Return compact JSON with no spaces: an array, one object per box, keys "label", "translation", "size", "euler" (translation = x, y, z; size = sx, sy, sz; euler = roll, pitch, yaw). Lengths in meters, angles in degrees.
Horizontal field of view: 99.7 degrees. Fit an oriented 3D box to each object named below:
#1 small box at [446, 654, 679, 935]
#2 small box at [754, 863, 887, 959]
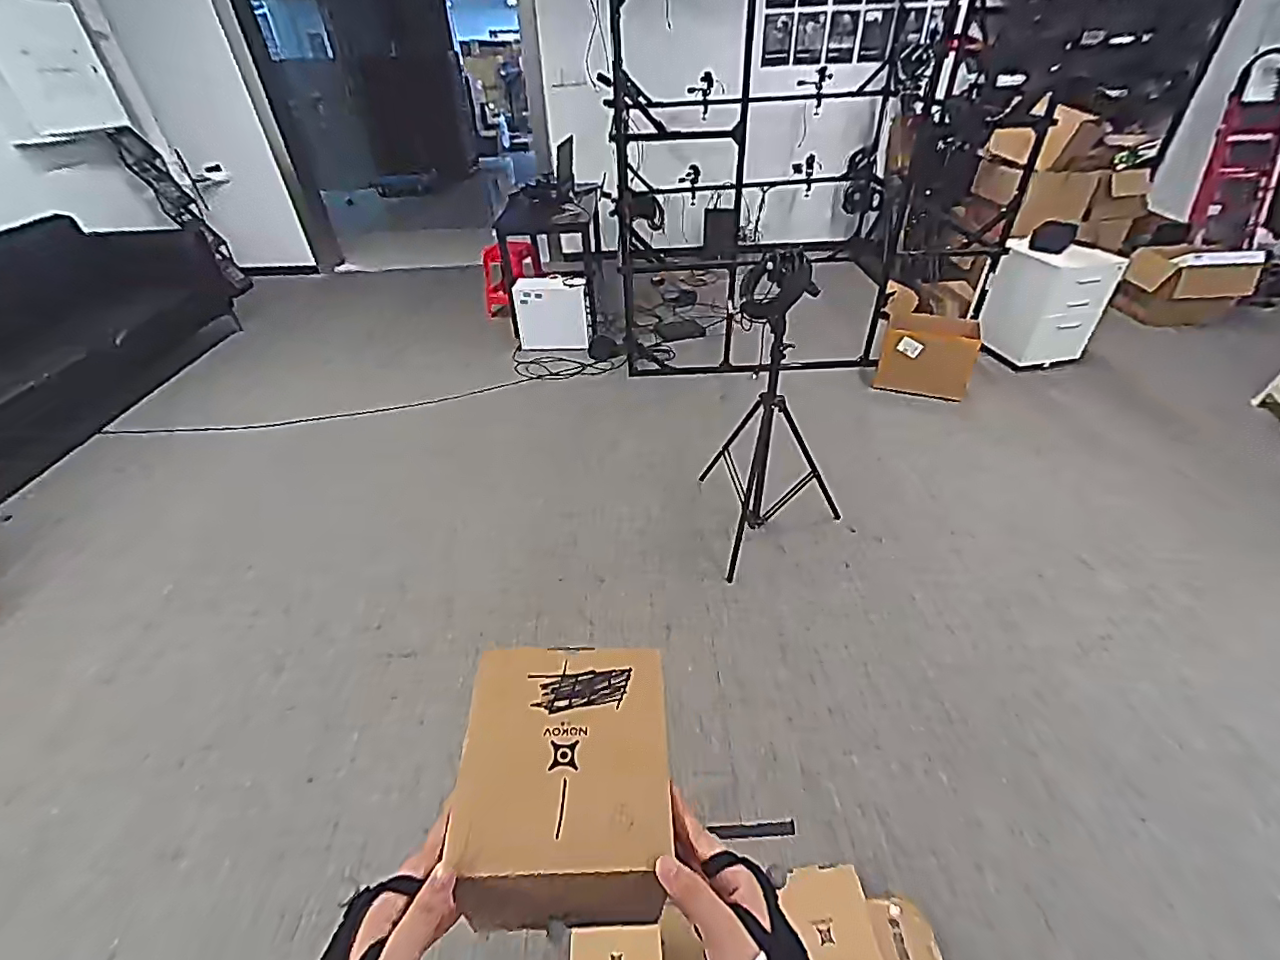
[{"label":"small box","translation":[-0.061,0.280,0.490],"size":[0.168,0.176,0.179],"euler":[1,40,-4]},{"label":"small box","translation":[0.296,0.780,0.902],"size":[0.168,0.176,0.179],"euler":[-6,38,-3]}]
